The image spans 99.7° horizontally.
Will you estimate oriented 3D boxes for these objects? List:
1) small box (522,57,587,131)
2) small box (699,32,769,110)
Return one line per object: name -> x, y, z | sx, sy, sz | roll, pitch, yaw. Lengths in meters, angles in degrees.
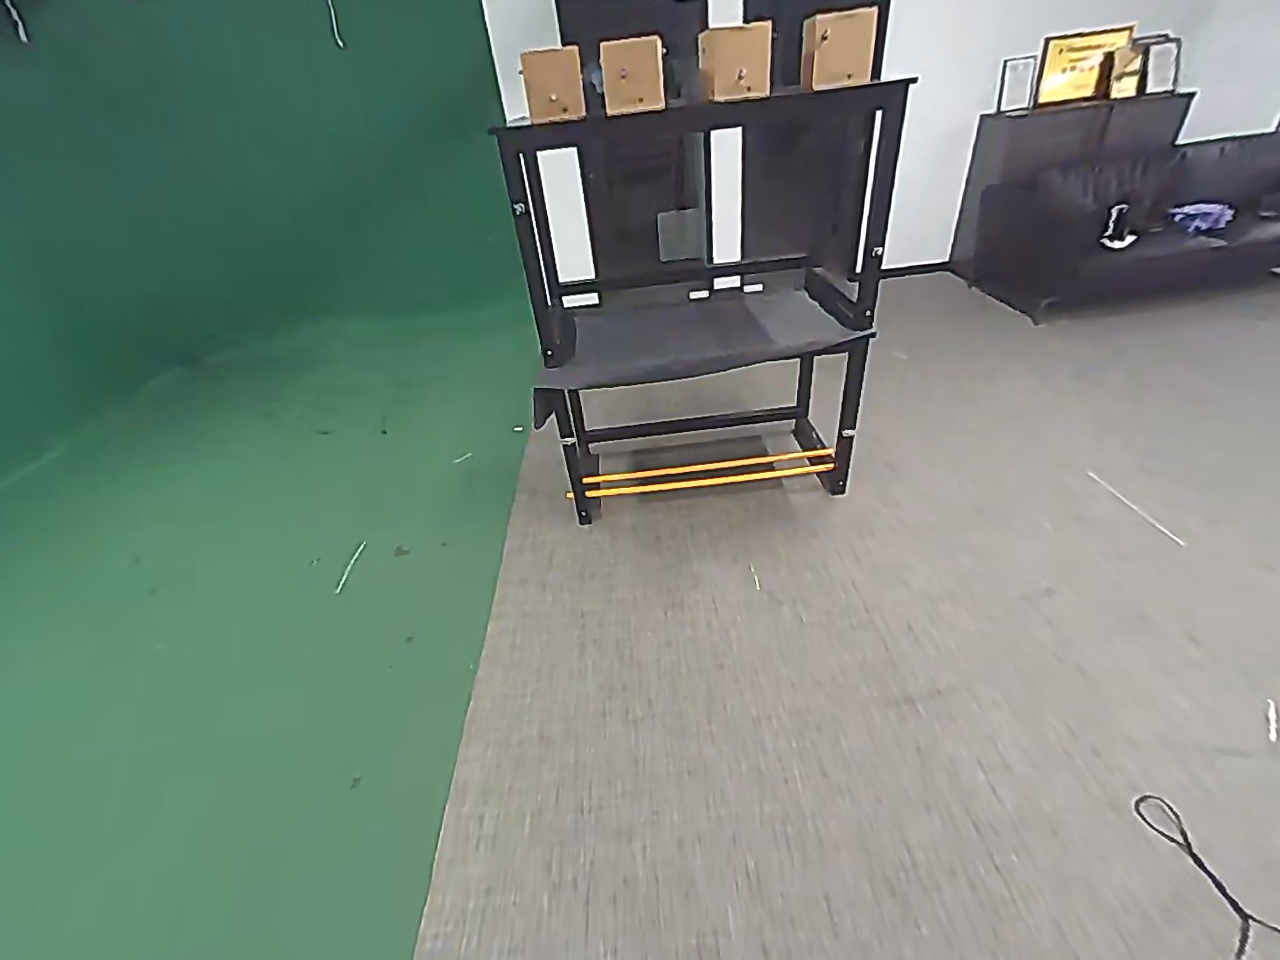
small box -> -0.260, -1.170, 1.644 | 0.168, 0.176, 0.179 | -10, 36, -5
small box -> 0.275, -1.215, 1.615 | 0.168, 0.176, 0.179 | -10, 35, -3
